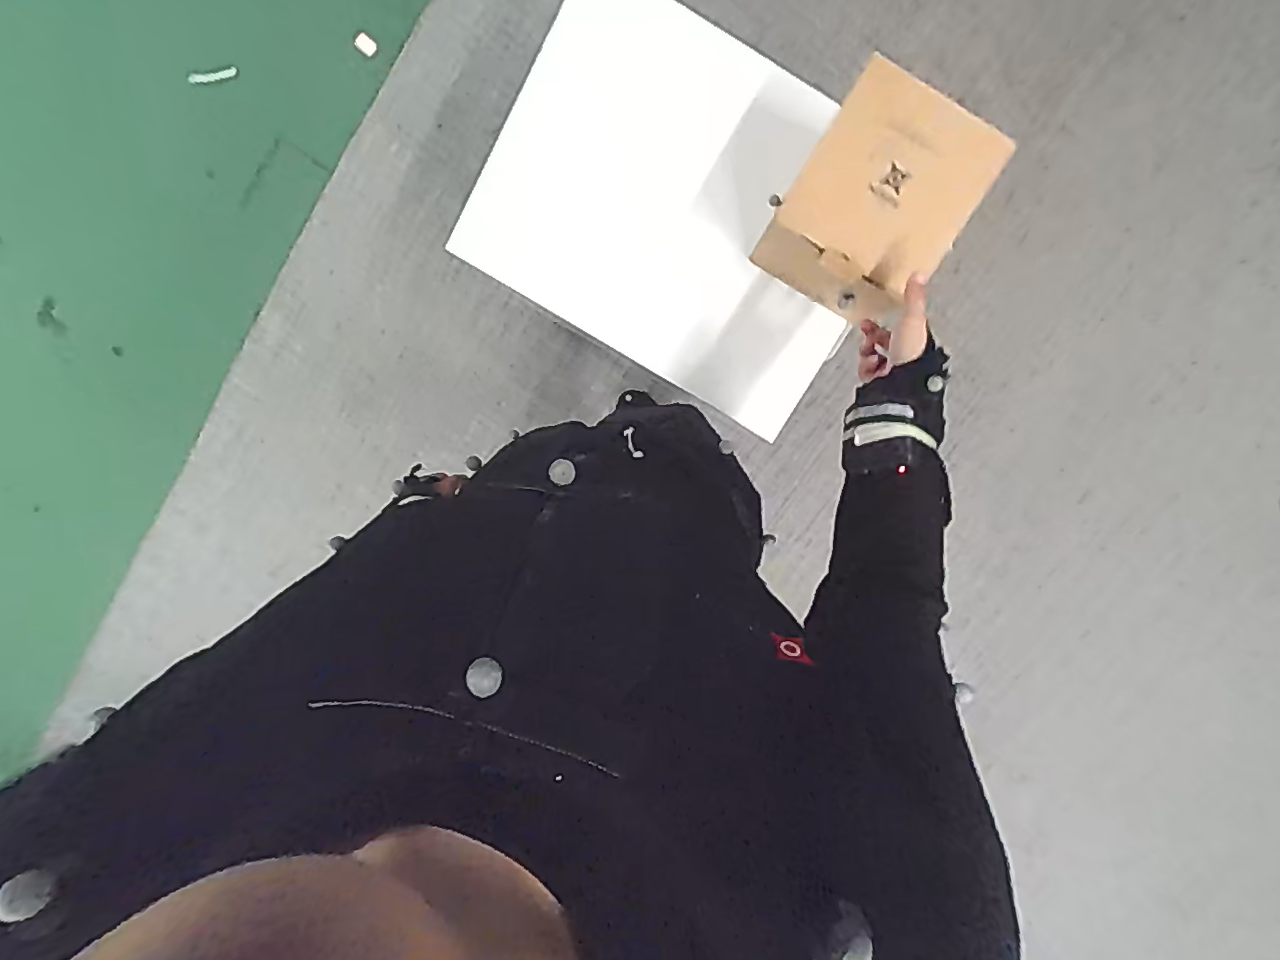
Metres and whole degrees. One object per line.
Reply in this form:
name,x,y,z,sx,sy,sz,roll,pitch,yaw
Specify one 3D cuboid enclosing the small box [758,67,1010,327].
small box,0.250,-0.293,0.610,0.168,0.176,0.179,31,98,-3
